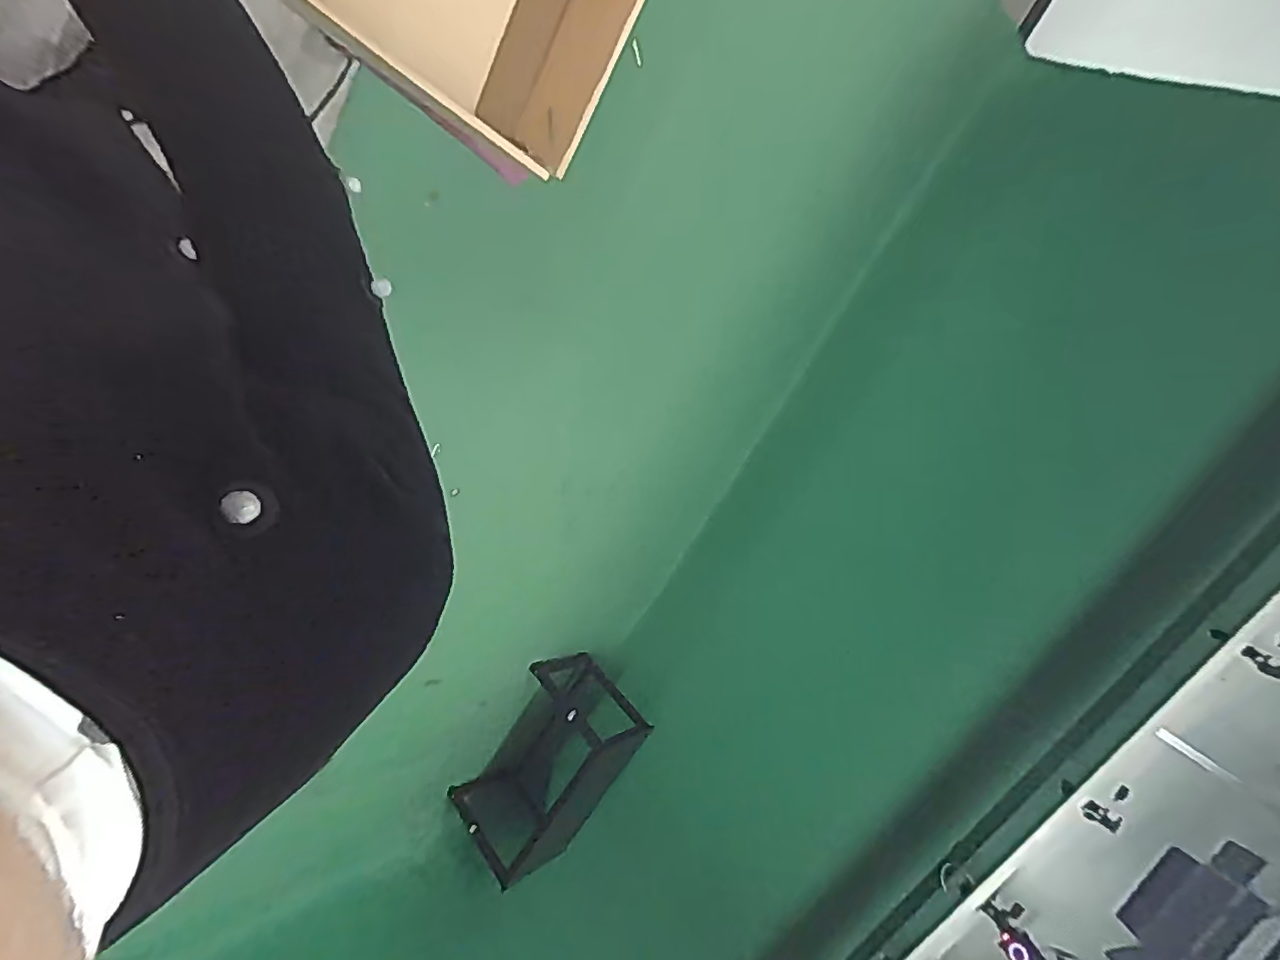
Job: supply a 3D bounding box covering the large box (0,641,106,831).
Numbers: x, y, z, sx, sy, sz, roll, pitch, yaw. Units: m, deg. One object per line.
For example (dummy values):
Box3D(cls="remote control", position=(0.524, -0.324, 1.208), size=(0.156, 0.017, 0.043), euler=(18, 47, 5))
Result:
Box3D(cls="large box", position=(-1.706, 0.697, 1.361), size=(0.408, 0.320, 0.320), euler=(-29, 144, -34))
